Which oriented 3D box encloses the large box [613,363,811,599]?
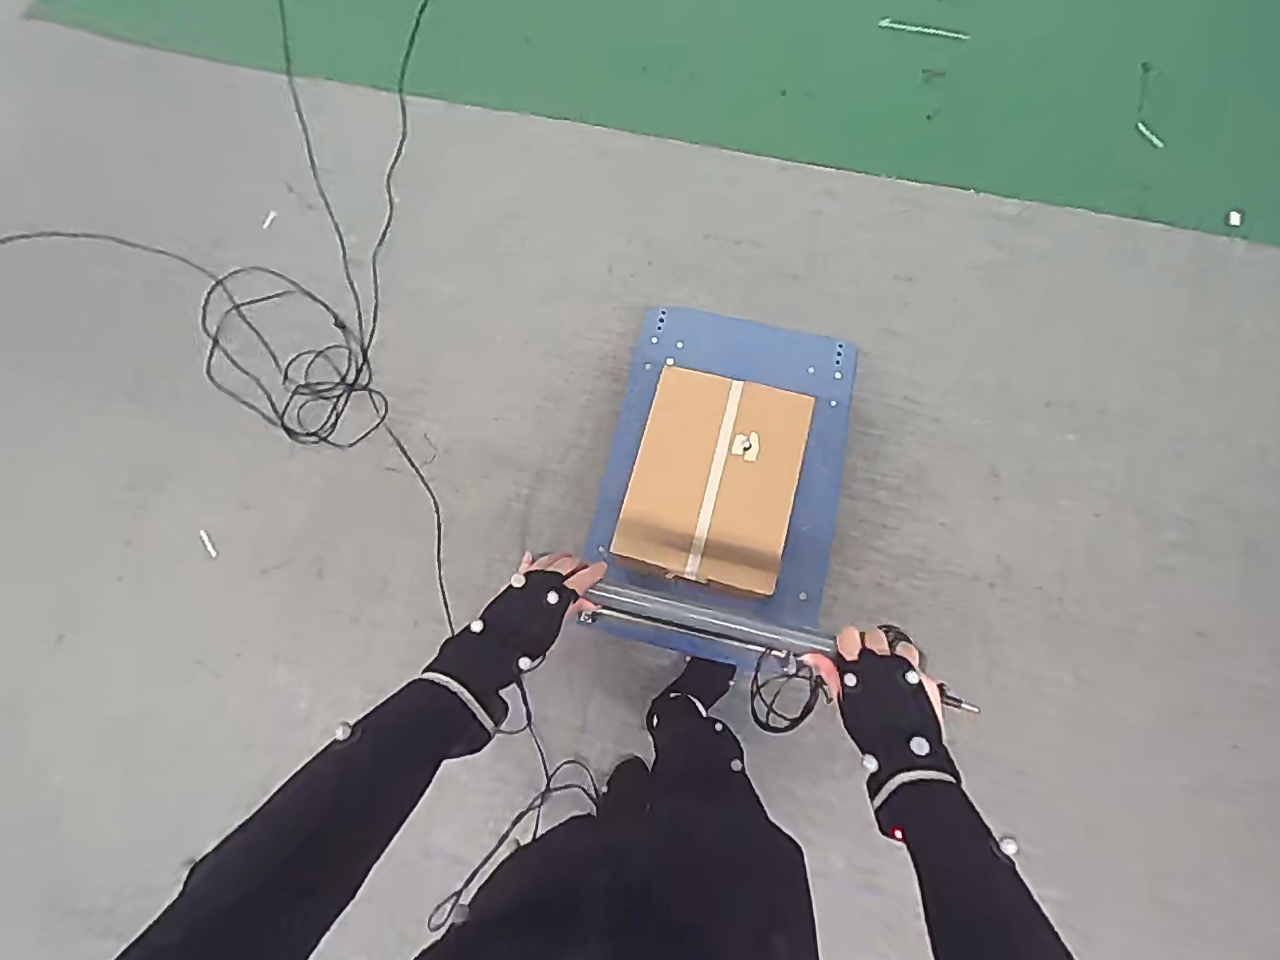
[{"bbox_3d":[0.152,0.020,1.180,0.320,0.320,0.408,15,76,6],"label":"large box"}]
